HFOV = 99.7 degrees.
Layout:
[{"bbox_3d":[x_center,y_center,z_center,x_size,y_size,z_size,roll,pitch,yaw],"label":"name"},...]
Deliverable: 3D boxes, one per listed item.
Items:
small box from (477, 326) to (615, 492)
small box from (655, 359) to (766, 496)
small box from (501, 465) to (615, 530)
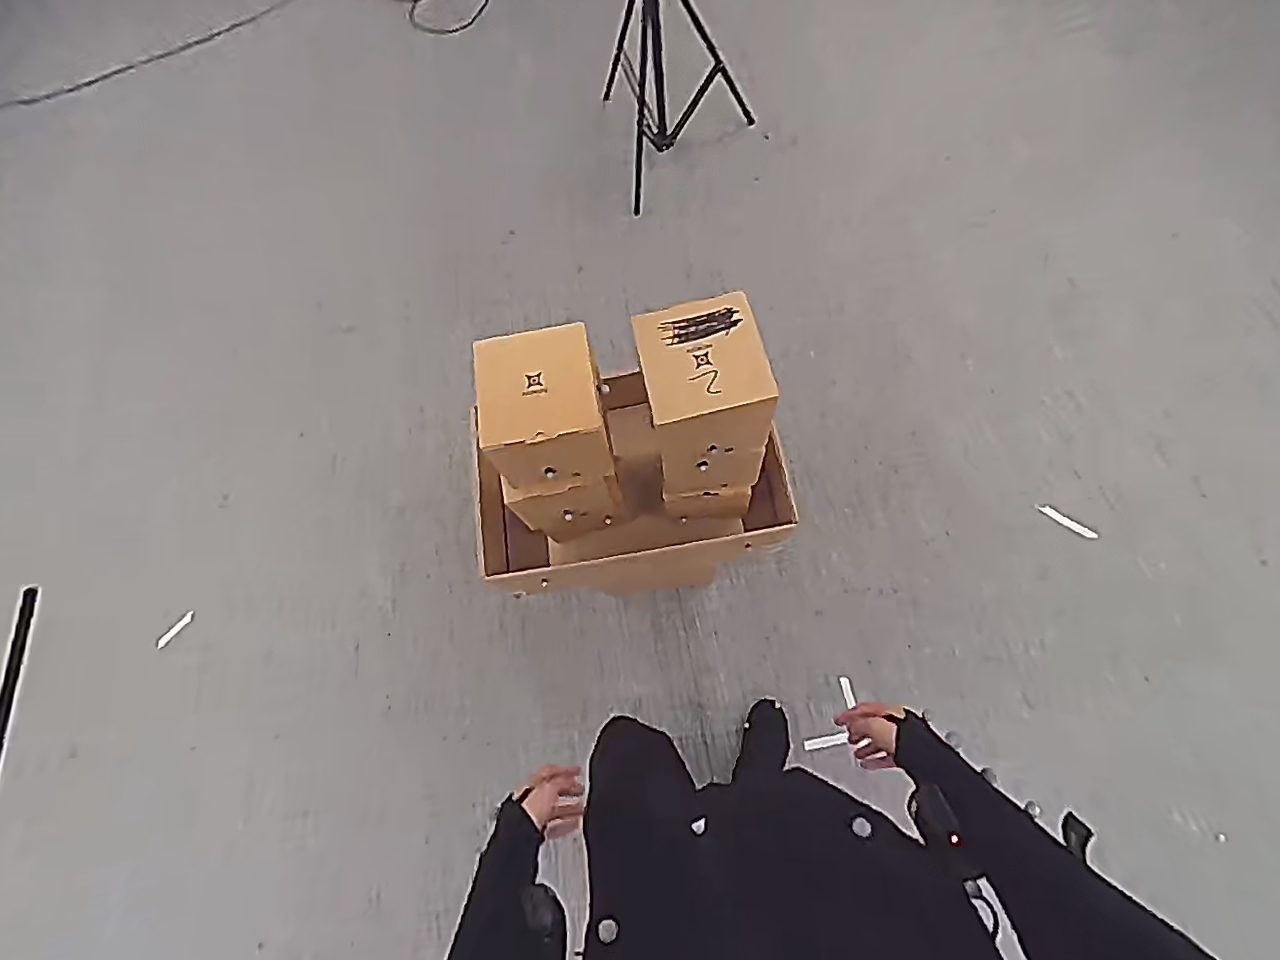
[{"bbox_3d":[-0.136,-0.100,0.818,0.168,0.176,0.179,-11,70,0],"label":"small box"},{"bbox_3d":[0.118,-0.086,0.953,0.168,0.176,0.179,-7,69,4],"label":"small box"},{"bbox_3d":[-0.147,-0.028,0.966,0.168,0.176,0.179,-14,70,-1],"label":"small box"}]
